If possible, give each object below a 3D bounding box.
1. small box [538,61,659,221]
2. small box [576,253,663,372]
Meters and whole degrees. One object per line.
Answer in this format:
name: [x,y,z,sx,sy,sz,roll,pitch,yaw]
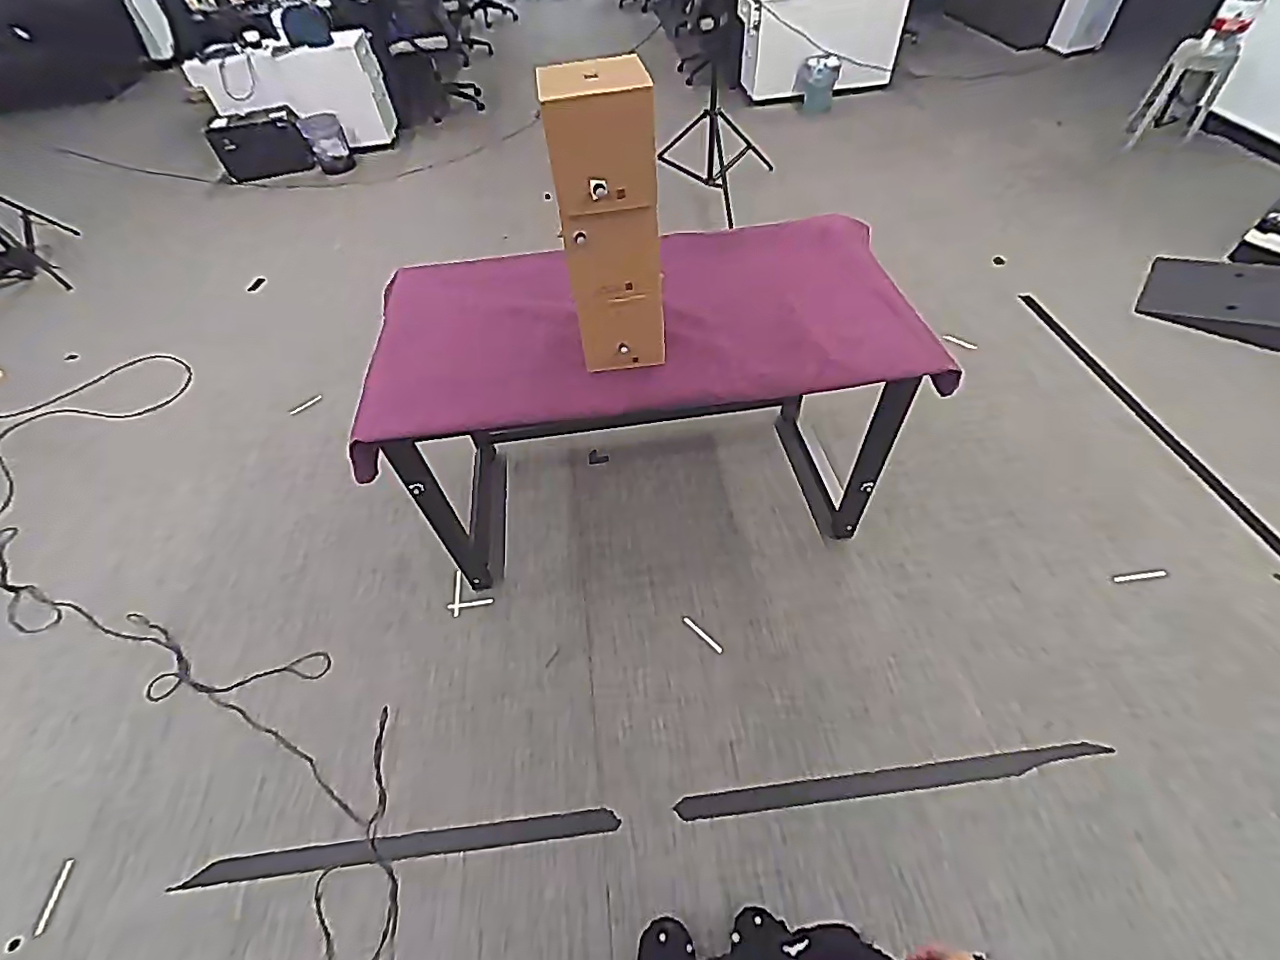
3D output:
small box: [-0.065,-0.546,0.875,0.168,0.176,0.179,-10,51,-2]
small box: [-0.042,-0.350,1.136,0.168,0.176,0.179,-7,51,0]
